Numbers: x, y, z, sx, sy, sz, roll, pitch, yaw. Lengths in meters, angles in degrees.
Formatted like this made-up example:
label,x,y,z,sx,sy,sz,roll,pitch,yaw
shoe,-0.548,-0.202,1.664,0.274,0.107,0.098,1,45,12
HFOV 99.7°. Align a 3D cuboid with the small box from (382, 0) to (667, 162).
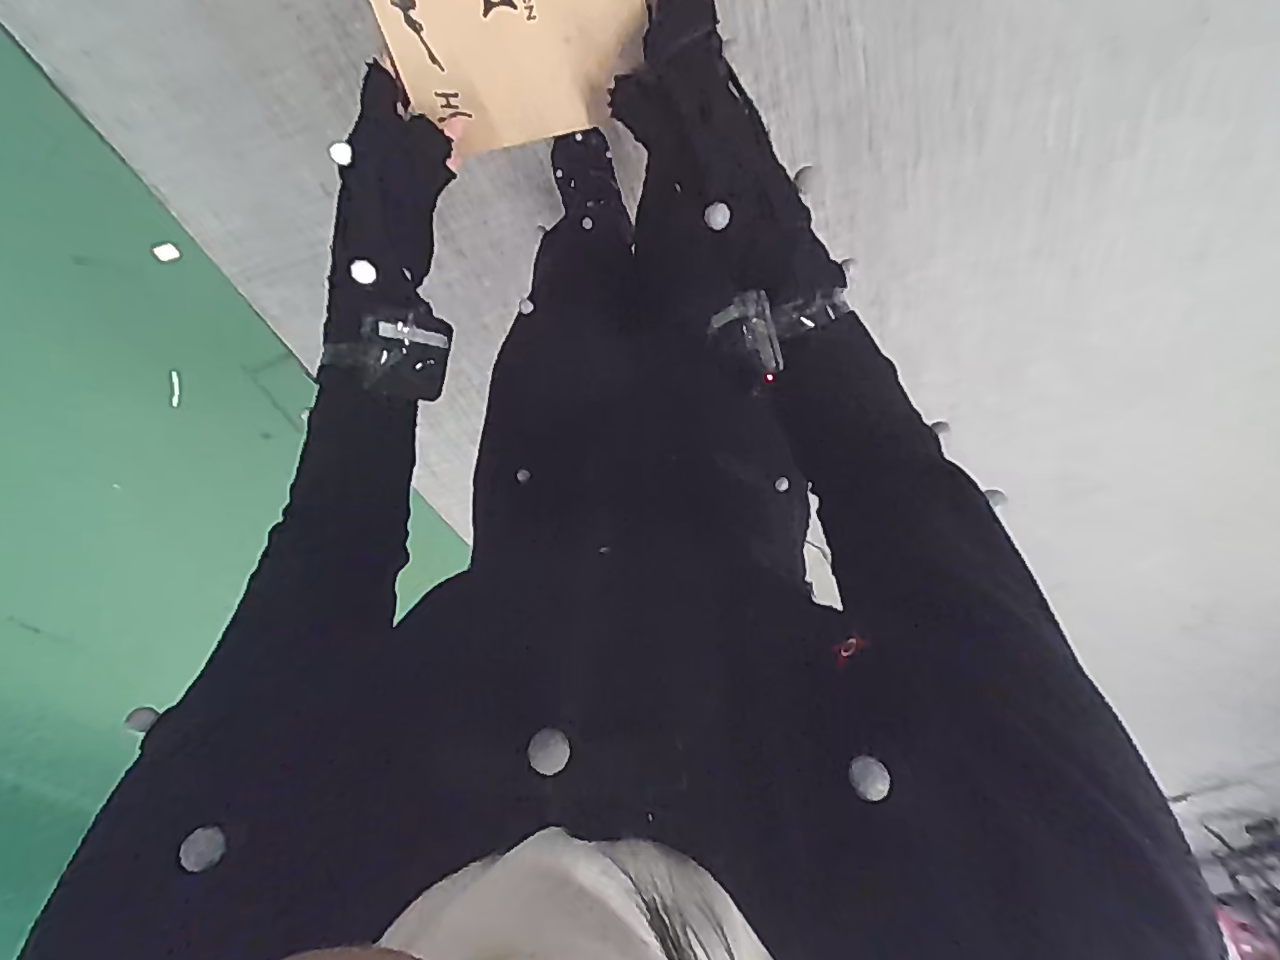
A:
label,x,y,z,sx,sy,sz,roll,pitch,yaw
small box,-0.083,-0.368,0.404,0.179,0.176,0.168,-9,135,5
